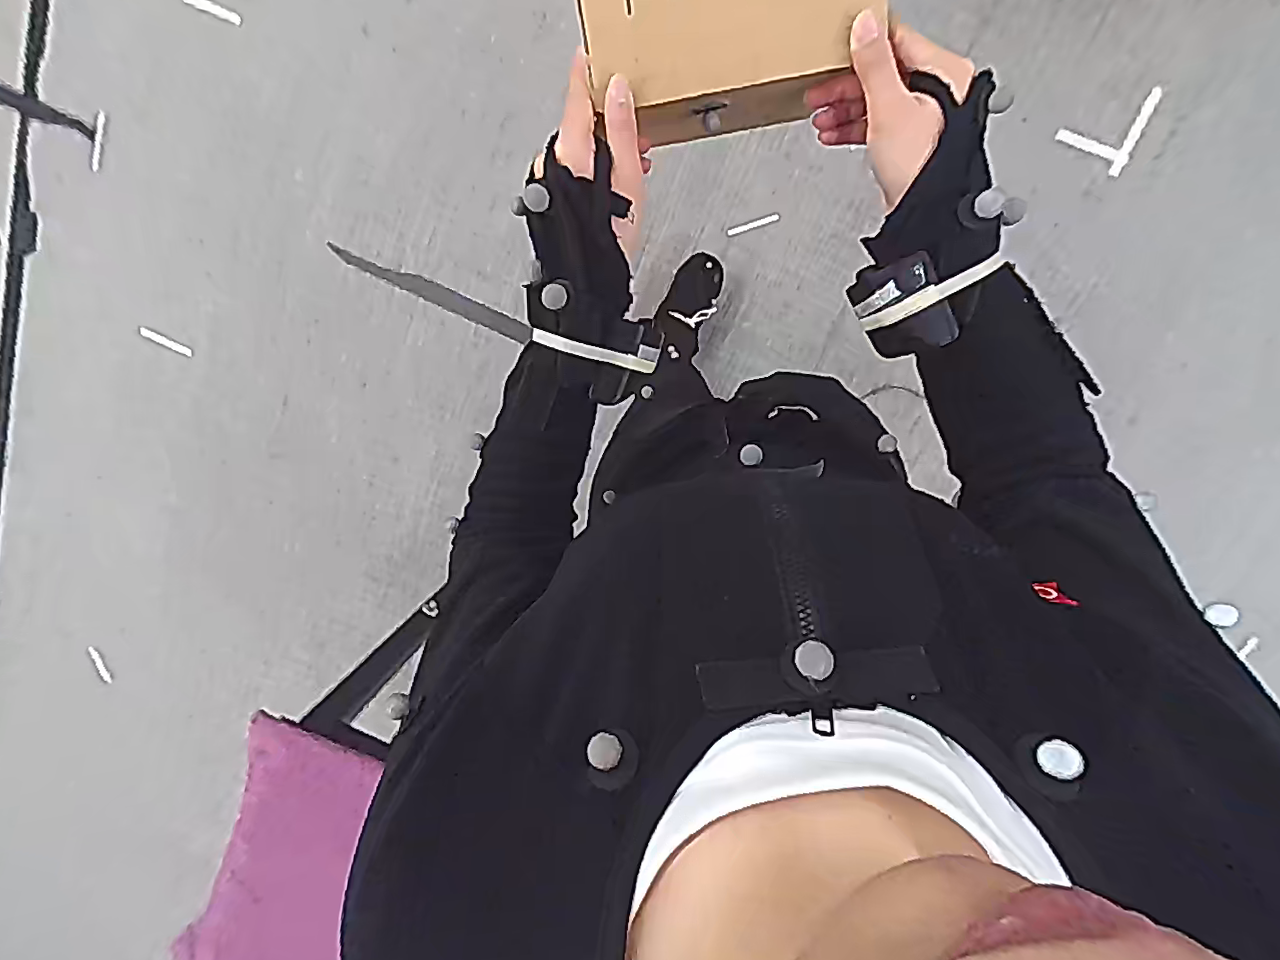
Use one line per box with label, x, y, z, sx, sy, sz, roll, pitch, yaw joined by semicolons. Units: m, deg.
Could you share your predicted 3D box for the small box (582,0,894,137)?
small box;0.049;-0.347;0.359;0.179;0.176;0.168;-8;114;3
